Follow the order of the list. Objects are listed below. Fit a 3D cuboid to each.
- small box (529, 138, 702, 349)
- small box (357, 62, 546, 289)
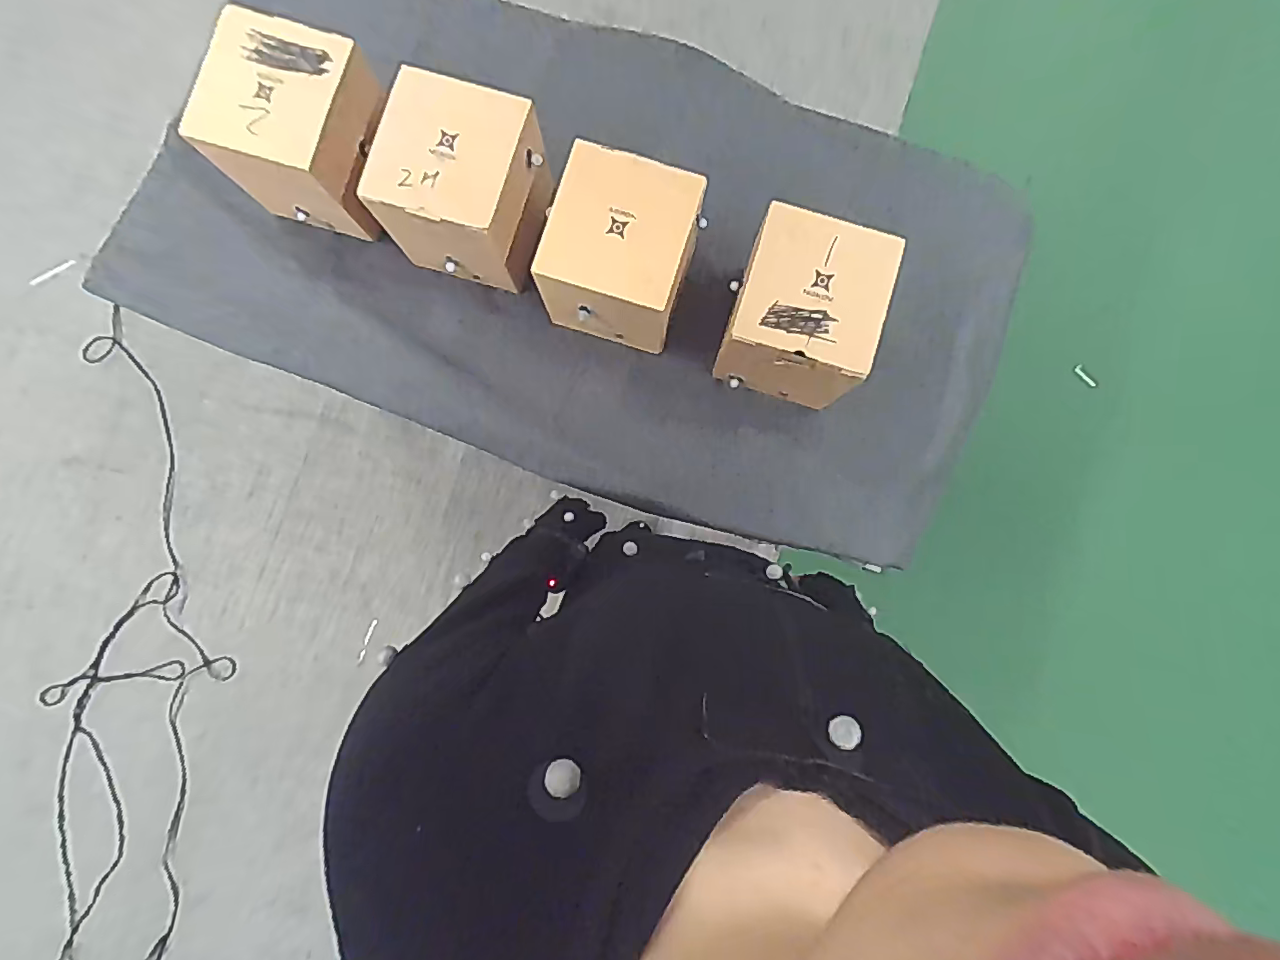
[{"bbox_3d":[-0.027,-0.294,0.711,0.168,0.176,0.179,17,85,1],"label":"small box"},{"bbox_3d":[-0.231,-0.387,0.716,0.168,0.176,0.179,17,85,1],"label":"small box"}]
